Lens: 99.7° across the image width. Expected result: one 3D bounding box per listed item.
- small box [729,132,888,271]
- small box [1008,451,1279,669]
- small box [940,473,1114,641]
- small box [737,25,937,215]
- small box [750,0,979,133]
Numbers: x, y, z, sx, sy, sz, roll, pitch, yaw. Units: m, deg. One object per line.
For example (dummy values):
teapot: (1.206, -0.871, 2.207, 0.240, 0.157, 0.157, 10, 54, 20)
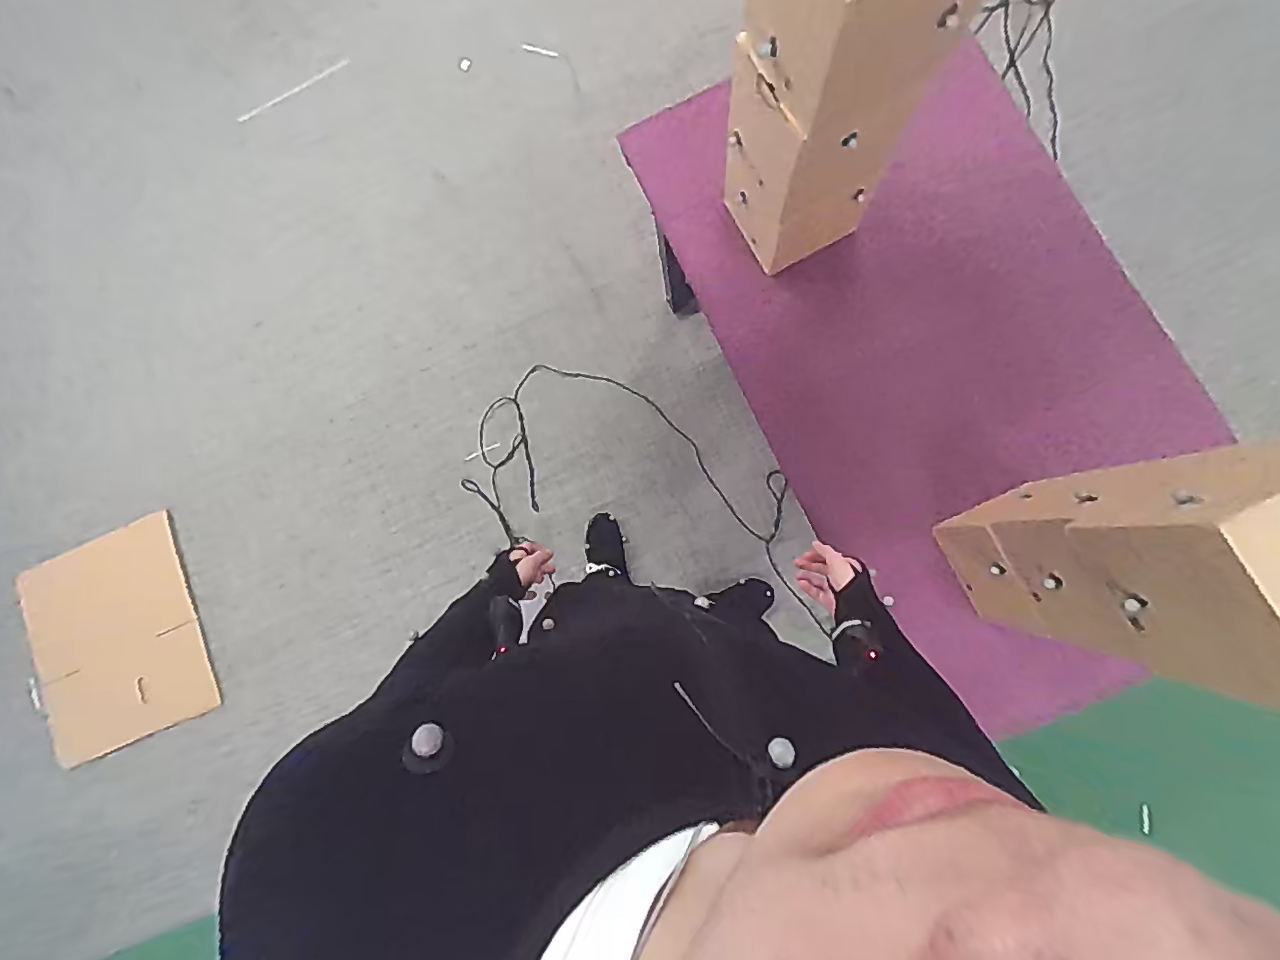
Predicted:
small box: (0.256, -0.473, 0.870, 0.179, 0.176, 0.168, -27, 81, 3)
small box: (0.560, 0.087, 0.608, 0.179, 0.176, 0.168, -24, 82, 3)
small box: (0.576, 0.106, 0.771, 0.179, 0.176, 0.168, -26, 81, 2)
small box: (0.237, -0.489, 0.708, 0.179, 0.176, 0.168, -27, 82, 2)
small box: (0.228, -0.508, 0.546, 0.179, 0.176, 0.168, -26, 81, 3)
